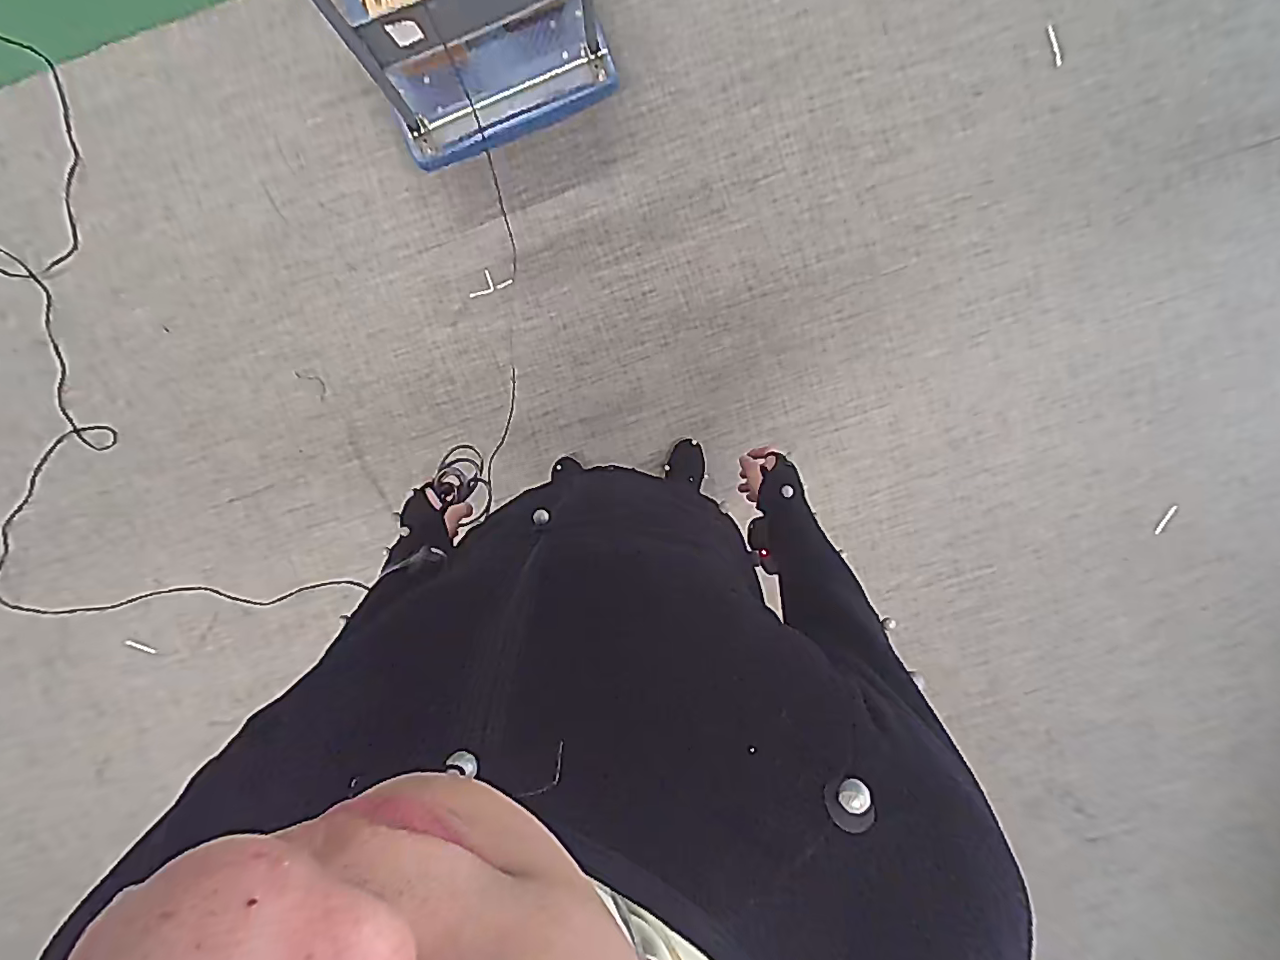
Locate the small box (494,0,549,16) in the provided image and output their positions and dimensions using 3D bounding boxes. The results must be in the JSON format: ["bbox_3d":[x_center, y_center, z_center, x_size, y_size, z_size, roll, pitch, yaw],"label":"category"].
[{"bbox_3d":[-0.303,-1.256,1.262,0.168,0.176,0.179,-20,96,2],"label":"small box"}]
